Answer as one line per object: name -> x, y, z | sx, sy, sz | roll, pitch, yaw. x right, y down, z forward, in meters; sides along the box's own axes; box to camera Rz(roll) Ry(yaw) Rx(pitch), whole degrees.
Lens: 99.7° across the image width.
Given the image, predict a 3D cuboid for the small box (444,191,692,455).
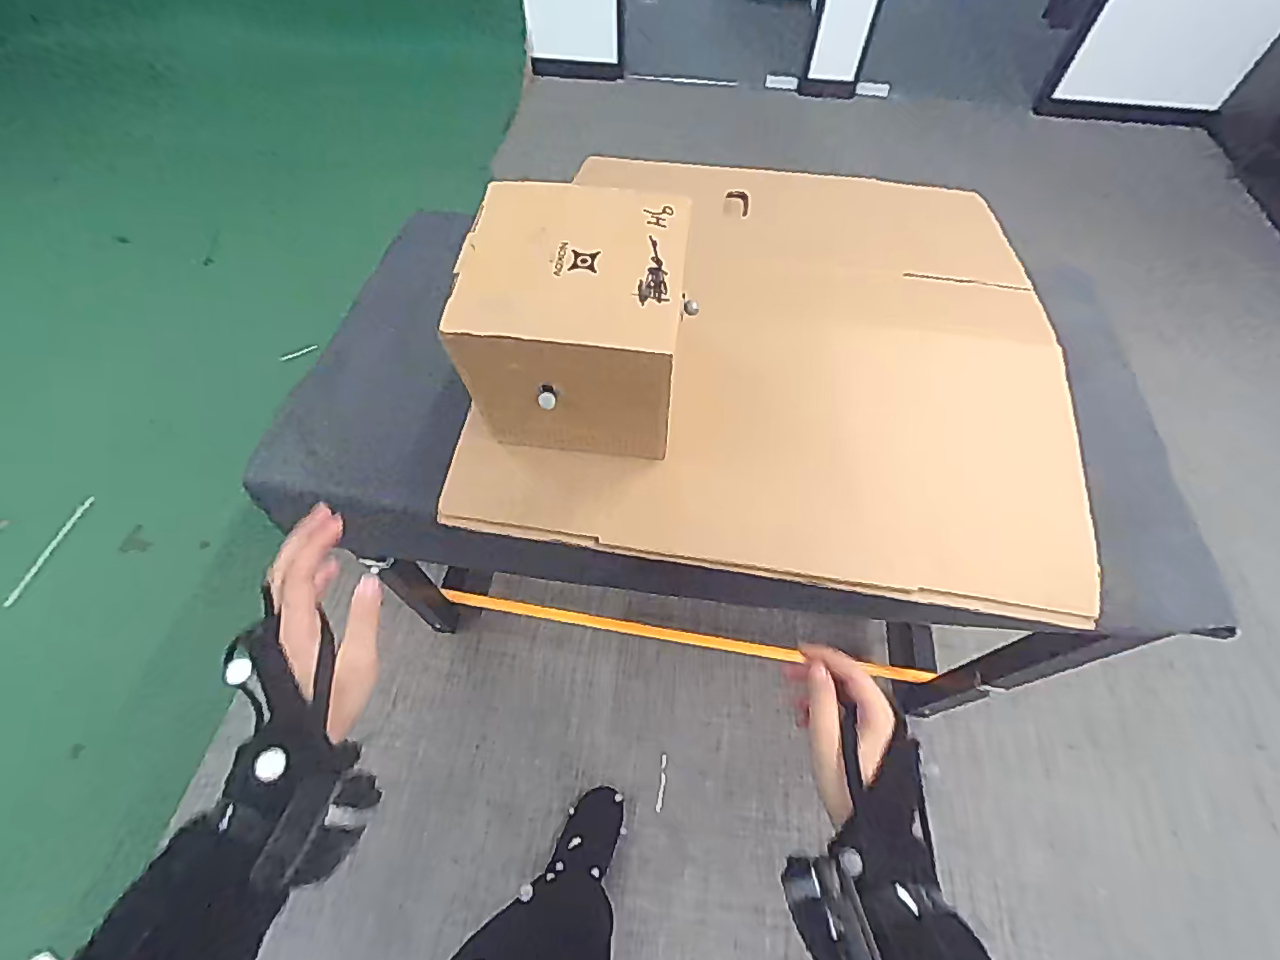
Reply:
small box -> -0.049, -0.135, 0.501 | 0.179, 0.176, 0.168 | 6, 65, 4
